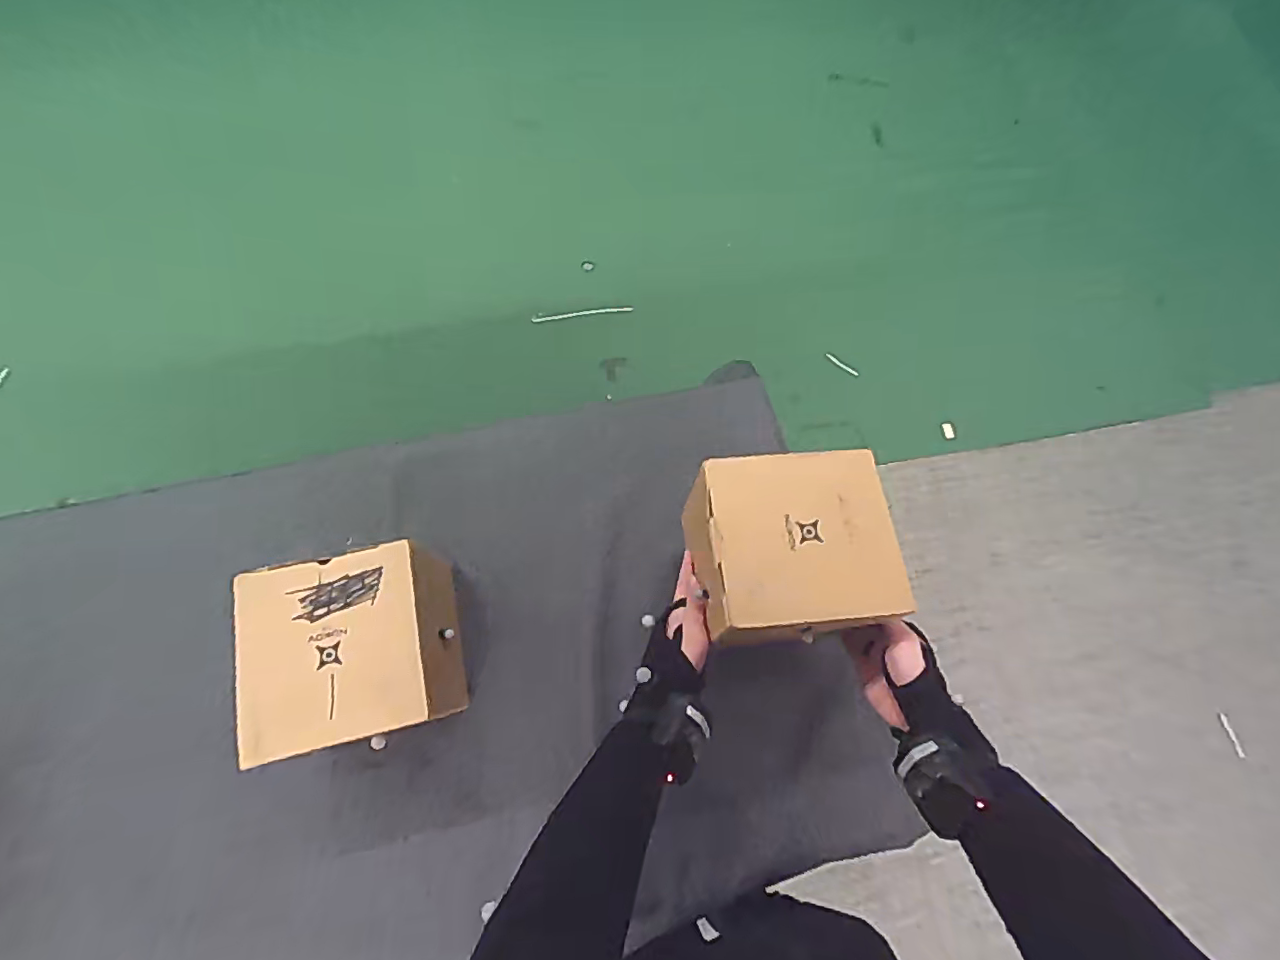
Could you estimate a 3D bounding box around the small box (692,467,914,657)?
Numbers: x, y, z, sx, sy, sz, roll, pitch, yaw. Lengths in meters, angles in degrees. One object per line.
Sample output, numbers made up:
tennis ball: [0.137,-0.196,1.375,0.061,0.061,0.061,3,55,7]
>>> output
small box: [0.158,0.098,0.598,0.179,0.176,0.168,-4,68,-6]

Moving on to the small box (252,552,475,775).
small box: [-0.286,0.193,0.588,0.168,0.176,0.179,-11,73,-8]
